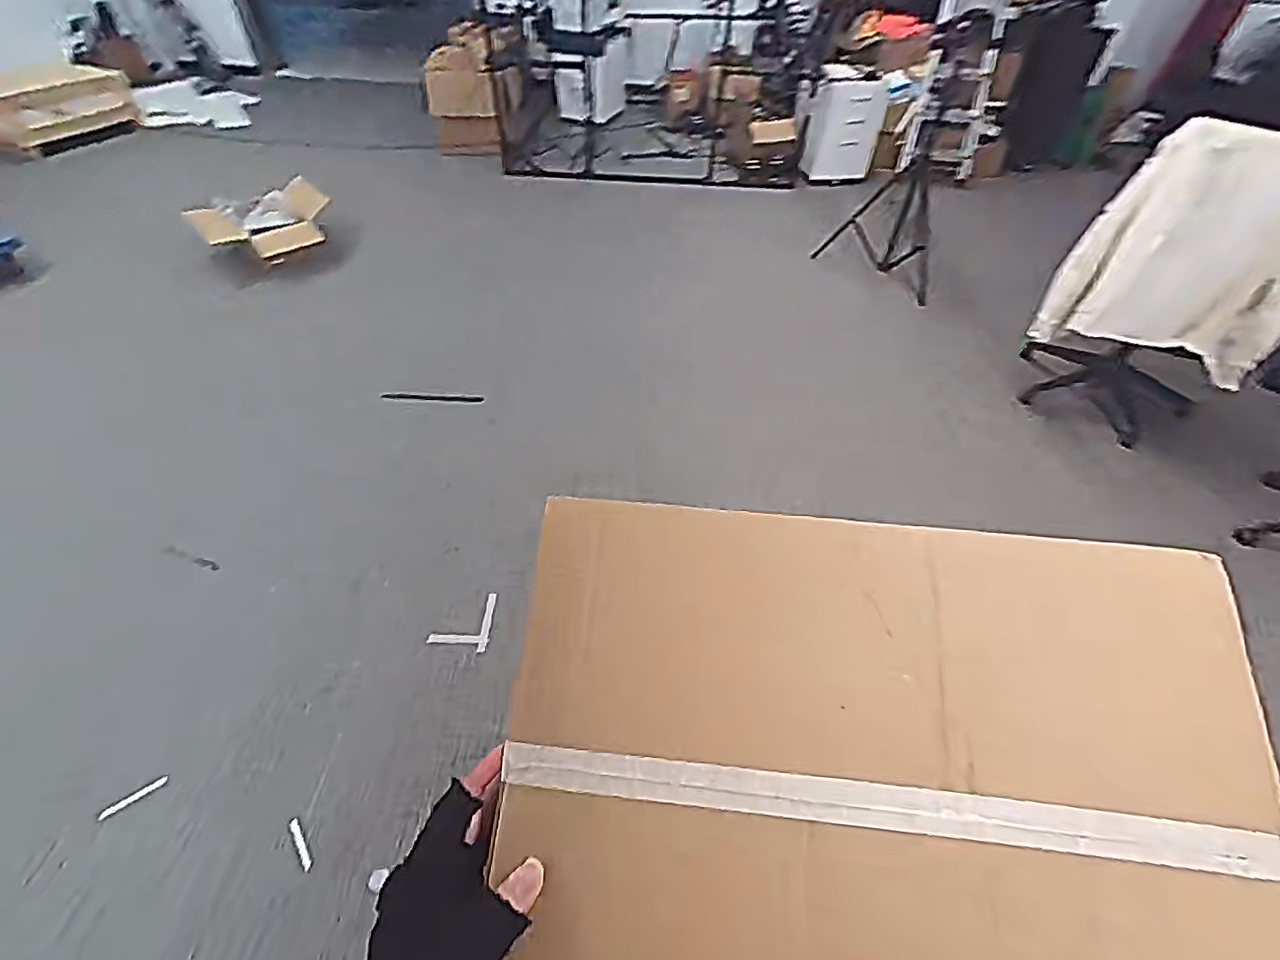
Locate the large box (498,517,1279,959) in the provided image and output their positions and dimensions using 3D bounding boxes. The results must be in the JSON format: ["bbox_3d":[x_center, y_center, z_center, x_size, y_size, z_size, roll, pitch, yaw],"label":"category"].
[{"bbox_3d":[0.136,0.231,0.436,0.408,0.320,0.320,4,72,5],"label":"large box"}]
